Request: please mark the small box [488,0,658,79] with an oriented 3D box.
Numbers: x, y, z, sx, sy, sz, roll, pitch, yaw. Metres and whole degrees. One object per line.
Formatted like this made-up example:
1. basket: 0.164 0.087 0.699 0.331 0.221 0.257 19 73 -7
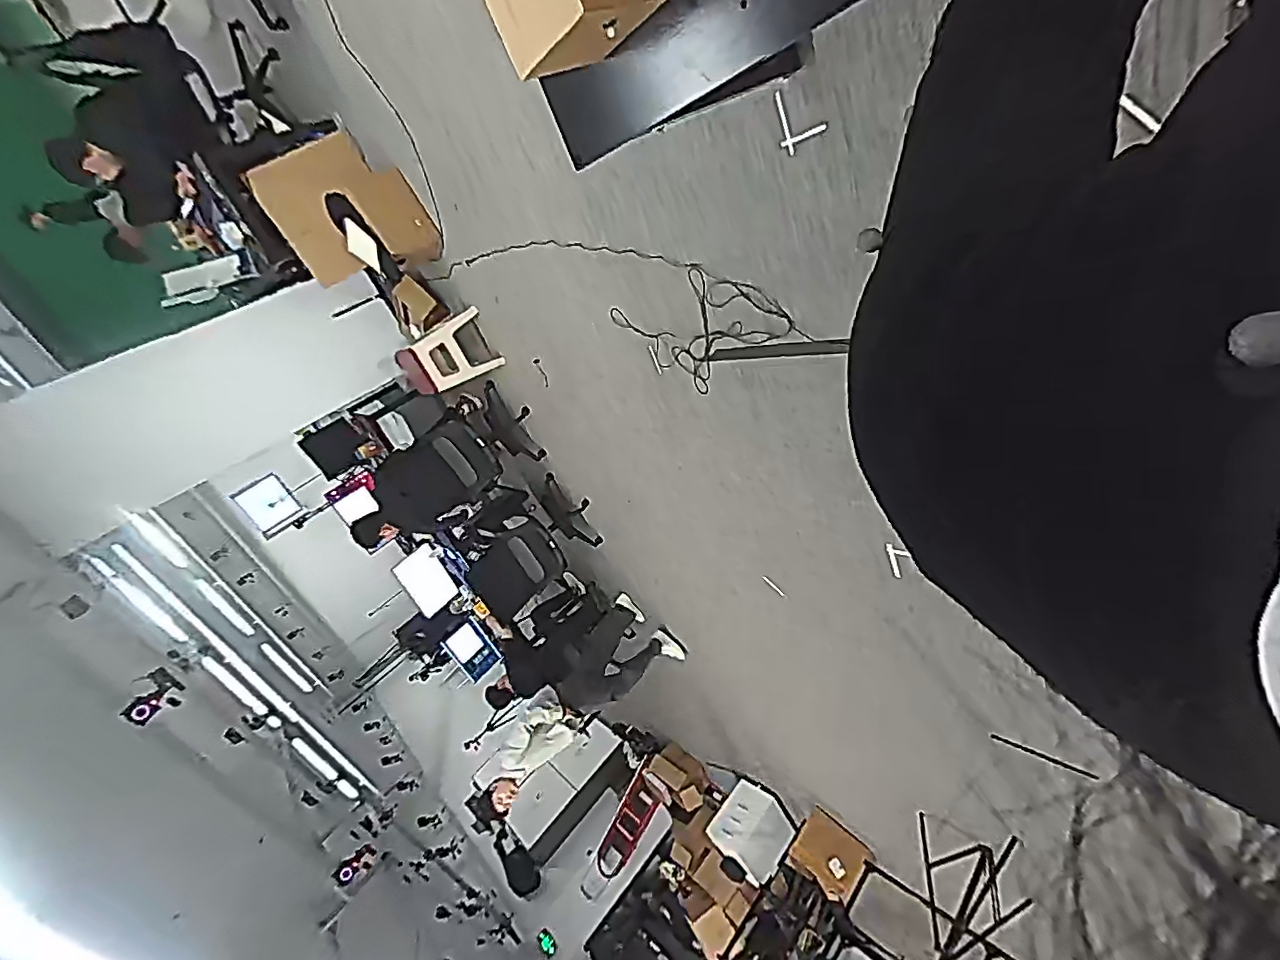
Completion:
1. small box: -0.095 -0.690 0.729 0.179 0.176 0.168 7 130 52
